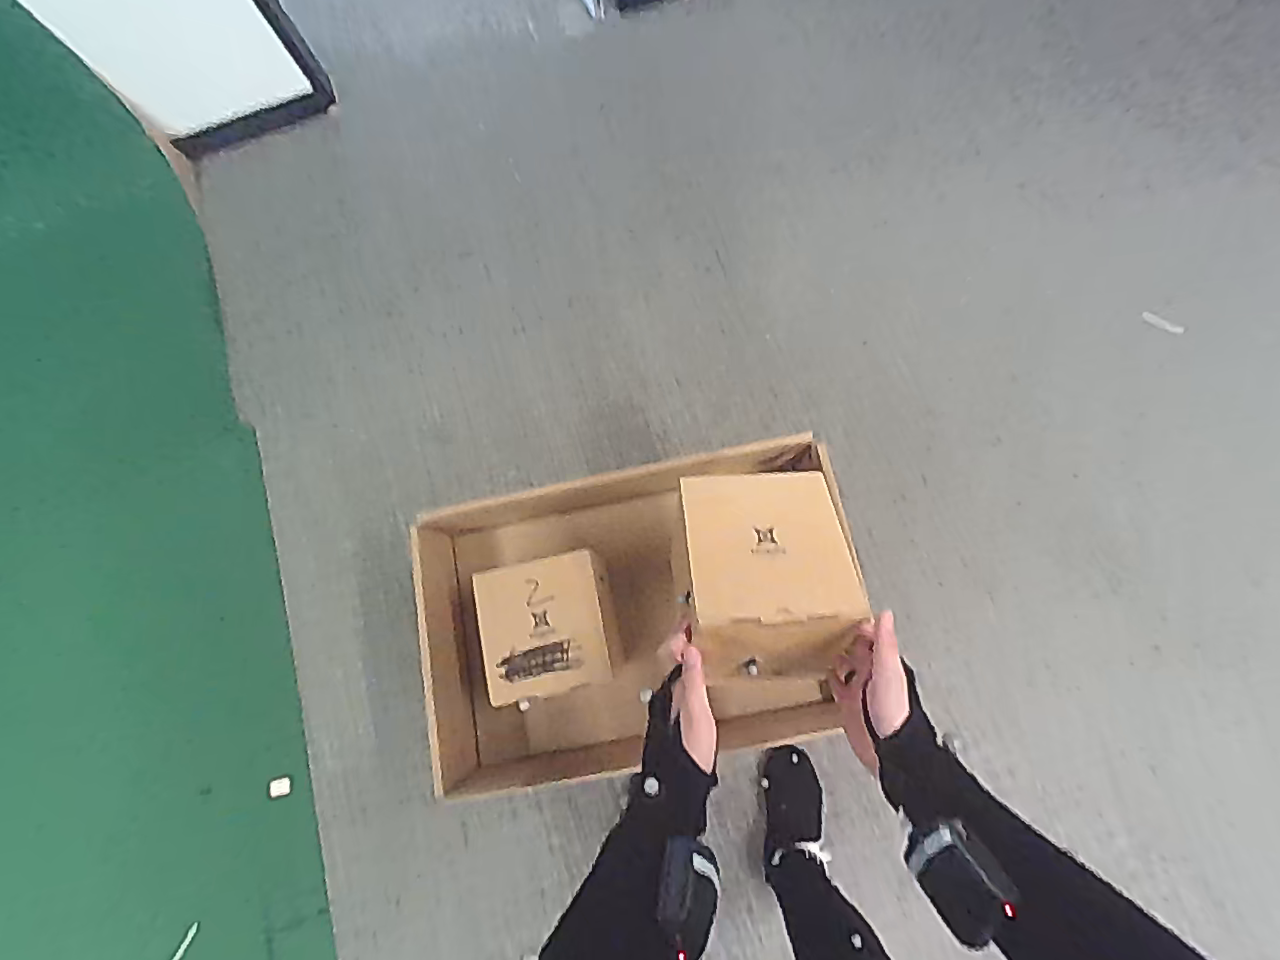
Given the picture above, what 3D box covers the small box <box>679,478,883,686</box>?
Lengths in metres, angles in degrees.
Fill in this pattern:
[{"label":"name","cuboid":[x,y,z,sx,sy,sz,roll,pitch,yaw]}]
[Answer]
[{"label":"small box","cuboid":[0.136,0.116,0.606,0.168,0.176,0.179,-2,54,-3]}]
